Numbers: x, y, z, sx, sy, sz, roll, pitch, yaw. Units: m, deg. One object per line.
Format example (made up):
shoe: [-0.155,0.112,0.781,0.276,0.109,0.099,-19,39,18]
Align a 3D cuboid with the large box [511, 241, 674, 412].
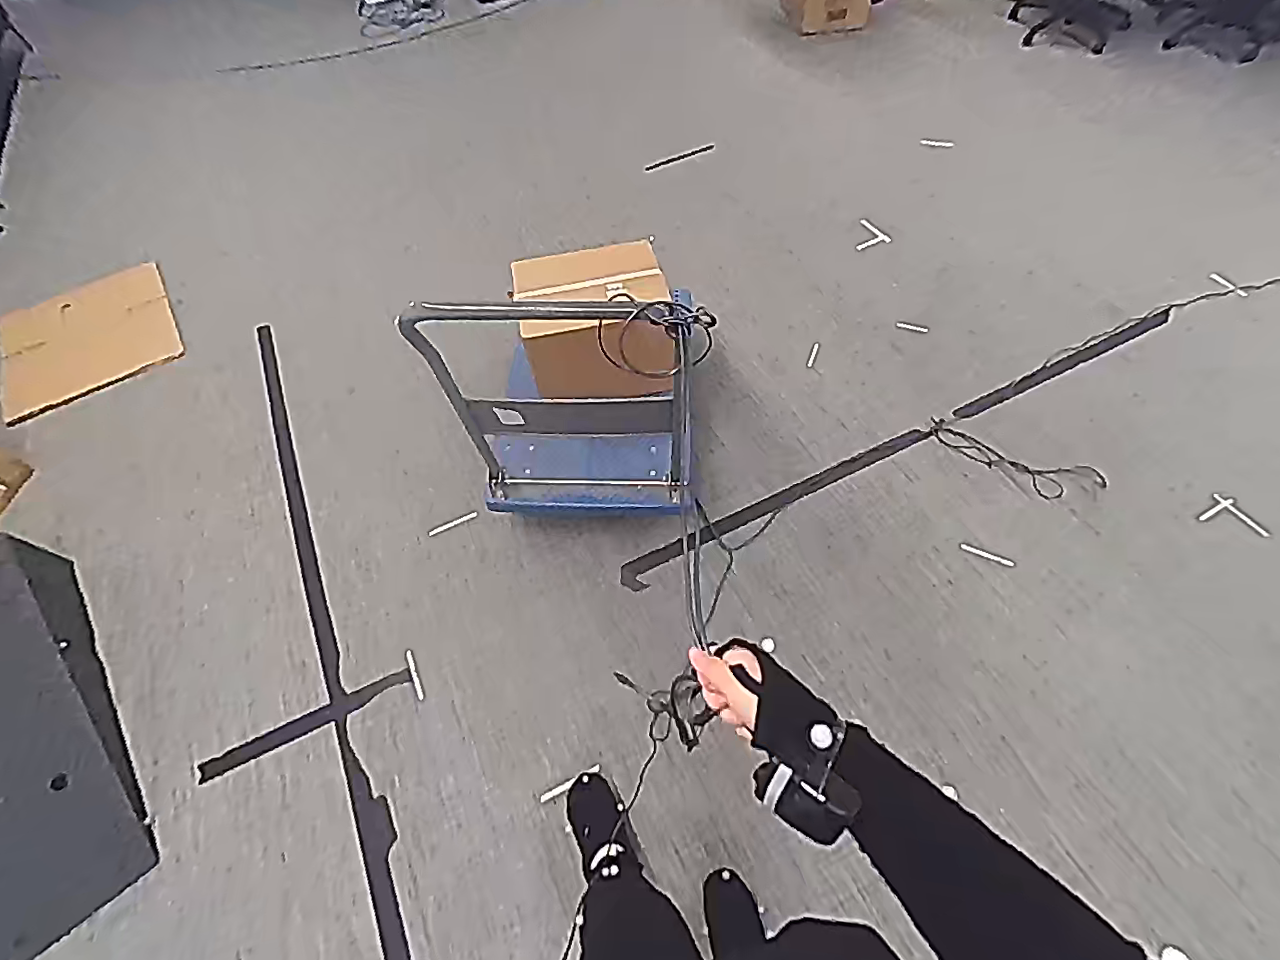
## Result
large box: [-0.132,-0.441,1.576,0.408,0.320,0.320,-12,60,-5]
